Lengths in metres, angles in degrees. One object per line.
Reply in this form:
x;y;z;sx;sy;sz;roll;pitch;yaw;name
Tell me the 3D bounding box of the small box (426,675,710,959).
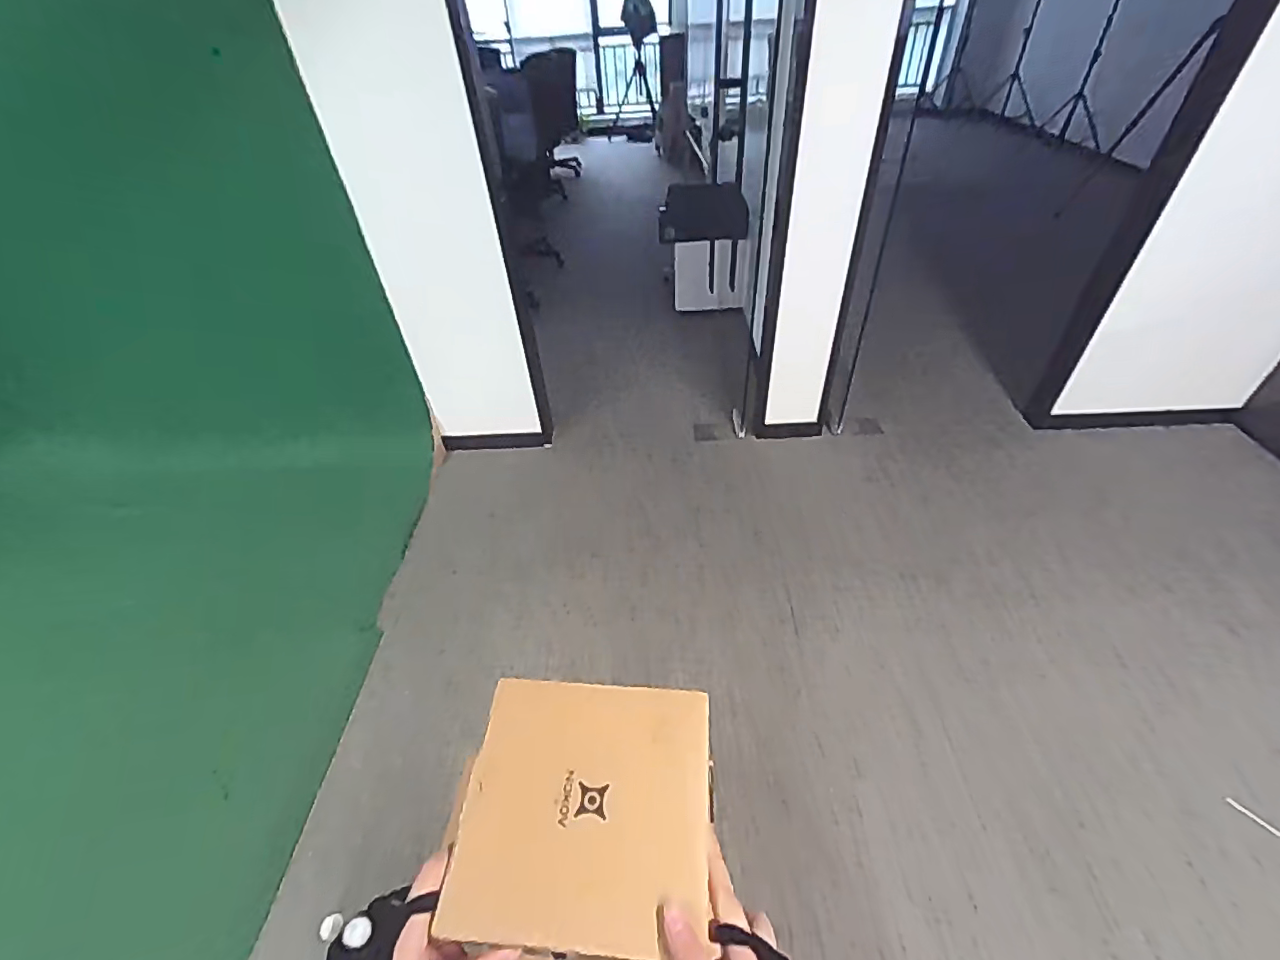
-0.037;0.278;0.440;0.179;0.176;0.168;2;48;6;small box
